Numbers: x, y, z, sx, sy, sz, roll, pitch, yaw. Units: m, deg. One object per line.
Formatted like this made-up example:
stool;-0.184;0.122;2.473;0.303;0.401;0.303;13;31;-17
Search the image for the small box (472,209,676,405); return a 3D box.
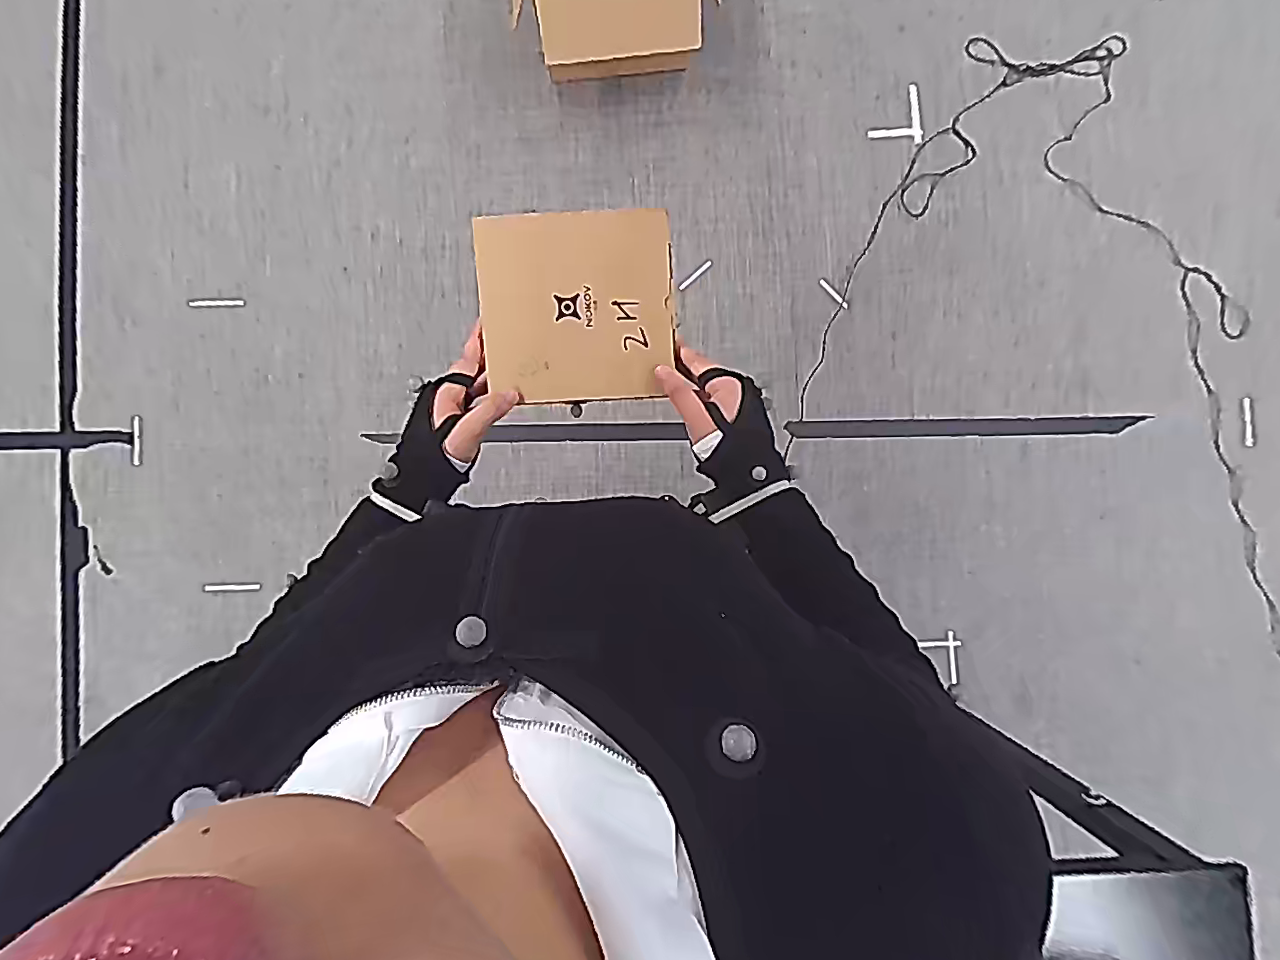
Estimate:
small box;-0.057;-0.162;0.555;0.179;0.176;0.168;-3;99;-1
